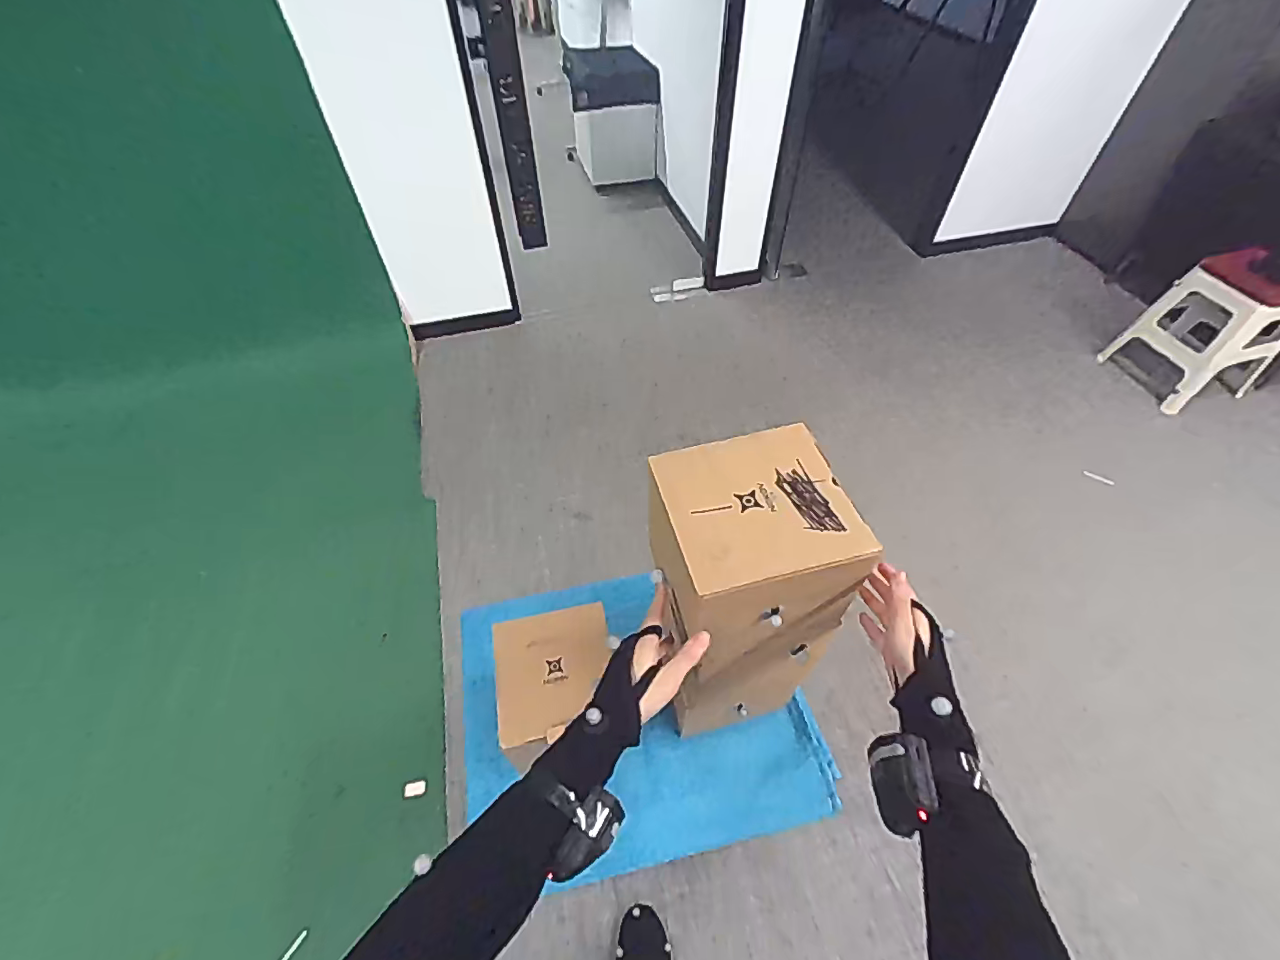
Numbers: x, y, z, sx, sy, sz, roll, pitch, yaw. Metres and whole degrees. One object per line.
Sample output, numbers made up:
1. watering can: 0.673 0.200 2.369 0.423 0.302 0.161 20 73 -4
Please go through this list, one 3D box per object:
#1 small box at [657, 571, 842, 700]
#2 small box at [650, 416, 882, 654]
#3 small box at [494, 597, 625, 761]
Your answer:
1. small box: 0.125 0.162 0.701 0.179 0.176 0.168 -13 52 -9
2. small box: 0.113 0.061 0.571 0.179 0.176 0.168 -12 52 -7
3. small box: -0.116 0.301 0.804 0.168 0.176 0.179 -9 51 -8
